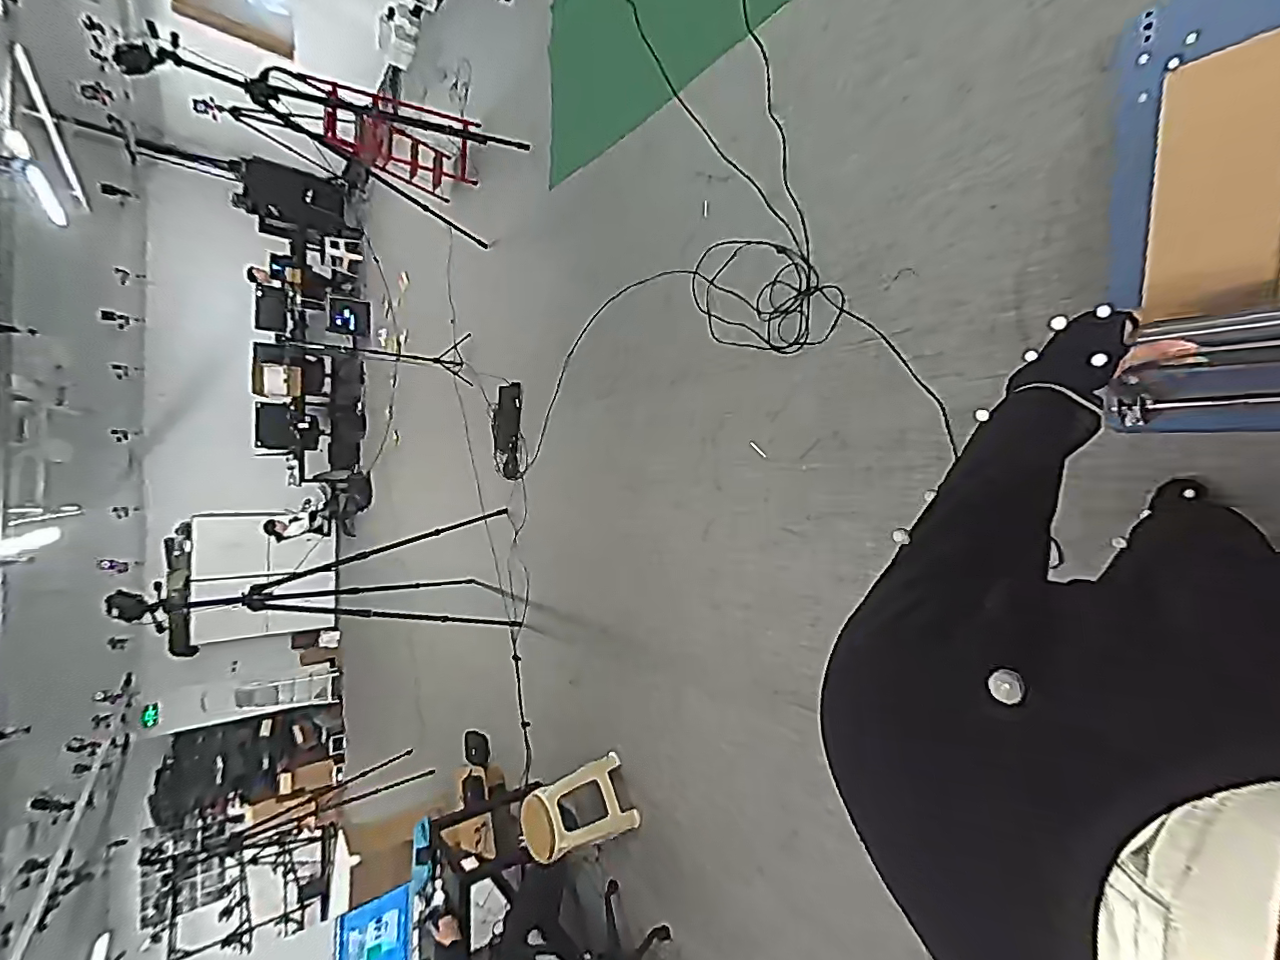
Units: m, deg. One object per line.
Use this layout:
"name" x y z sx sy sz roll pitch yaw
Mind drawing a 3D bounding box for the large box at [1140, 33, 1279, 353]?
"large box" 1.052 -0.443 0.861 0.320 0.320 0.408 7 94 51
